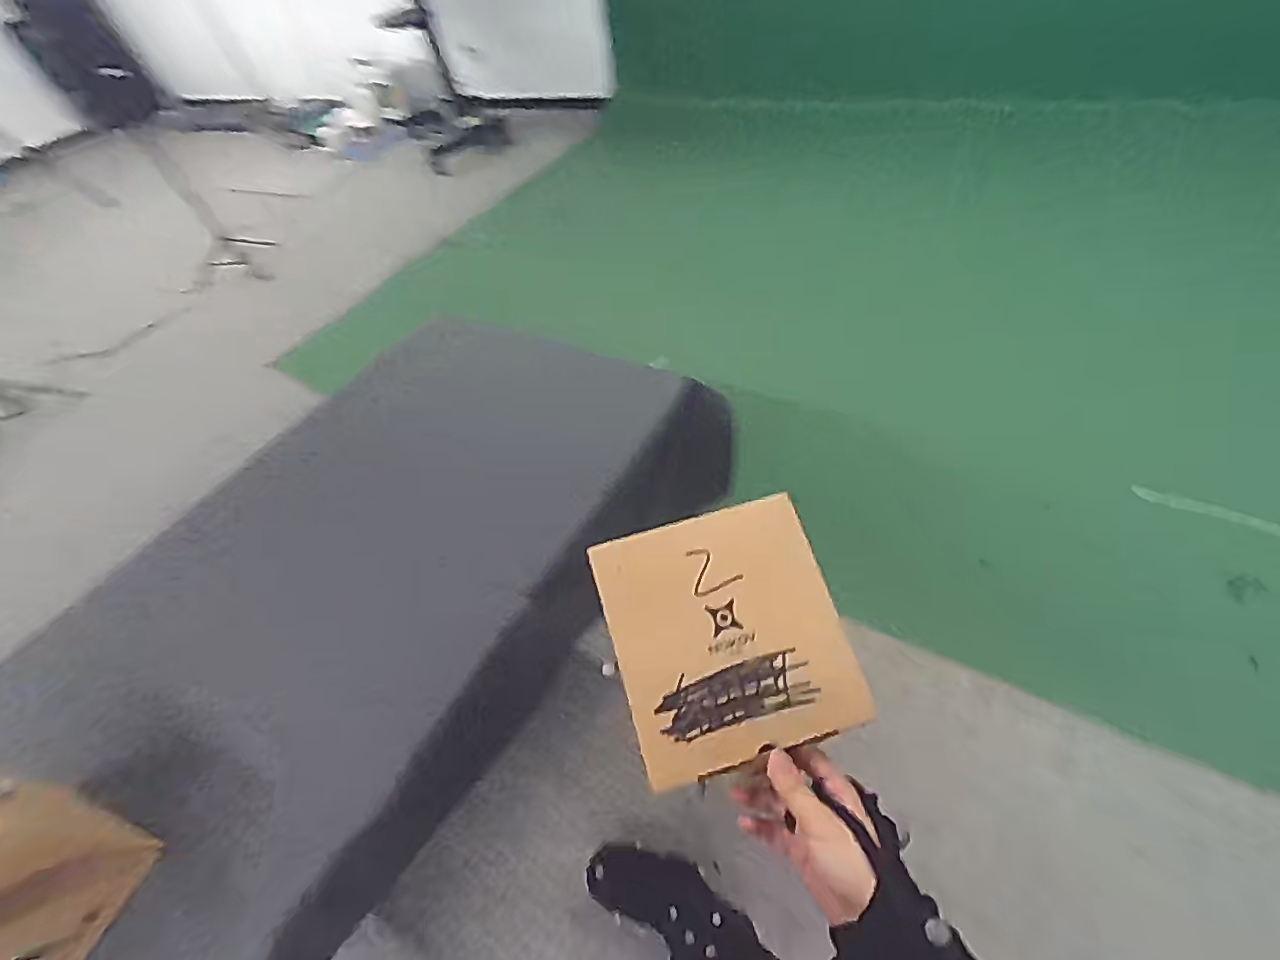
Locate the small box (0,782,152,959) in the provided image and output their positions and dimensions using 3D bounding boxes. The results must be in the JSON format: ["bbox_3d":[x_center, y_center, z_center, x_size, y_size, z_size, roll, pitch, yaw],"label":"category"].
[{"bbox_3d":[-0.616,0.381,0.481,0.179,0.176,0.168,10,54,19],"label":"small box"}]
